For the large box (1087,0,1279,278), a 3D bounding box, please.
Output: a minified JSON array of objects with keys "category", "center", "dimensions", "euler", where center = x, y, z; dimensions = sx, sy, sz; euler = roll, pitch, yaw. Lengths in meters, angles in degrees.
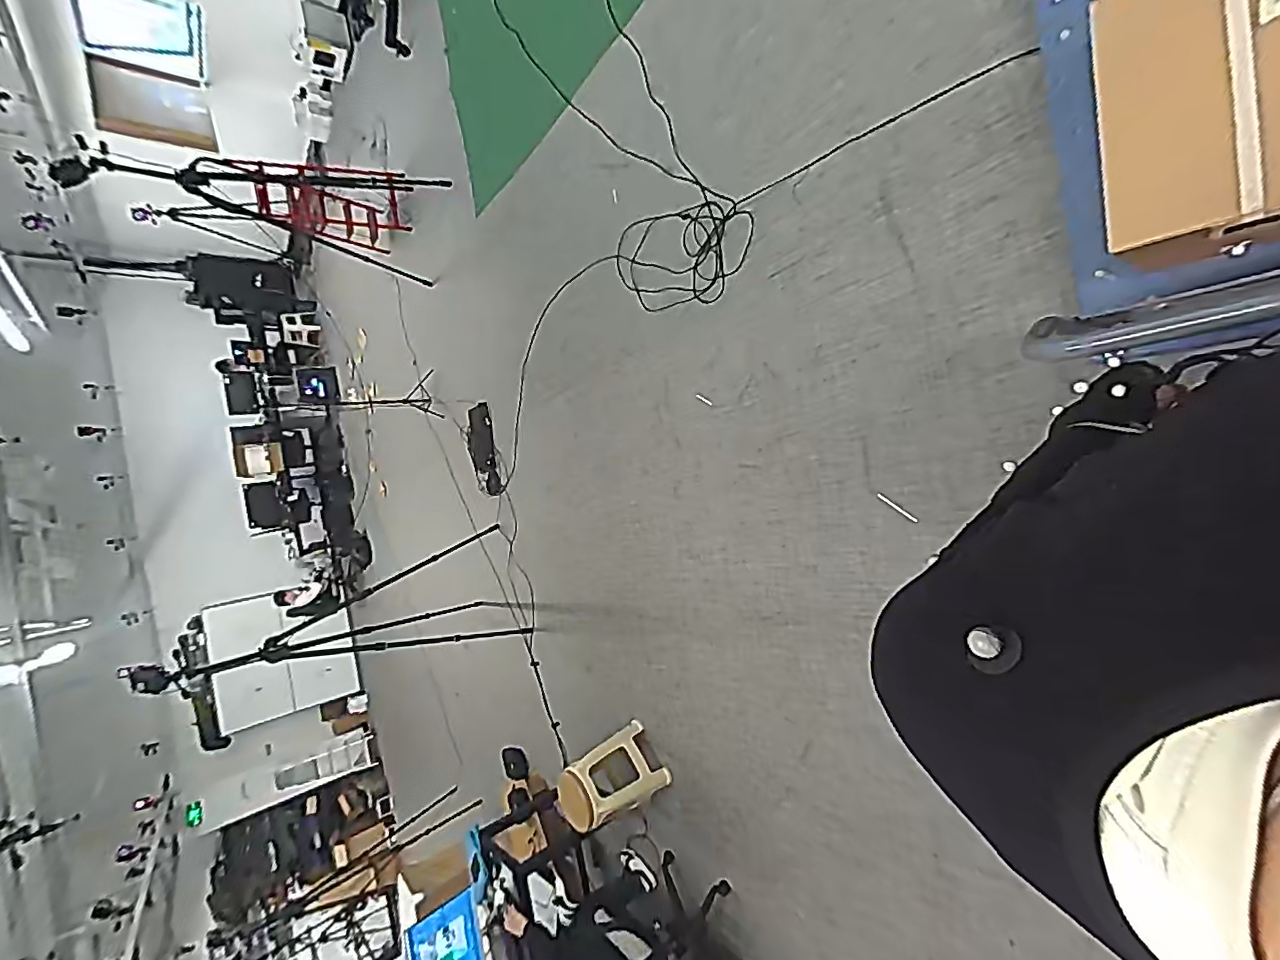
[{"category":"large box","center":[0.956,-0.584,0.852],"dimensions":[0.320,0.320,0.408],"euler":[-4,93,50]}]
